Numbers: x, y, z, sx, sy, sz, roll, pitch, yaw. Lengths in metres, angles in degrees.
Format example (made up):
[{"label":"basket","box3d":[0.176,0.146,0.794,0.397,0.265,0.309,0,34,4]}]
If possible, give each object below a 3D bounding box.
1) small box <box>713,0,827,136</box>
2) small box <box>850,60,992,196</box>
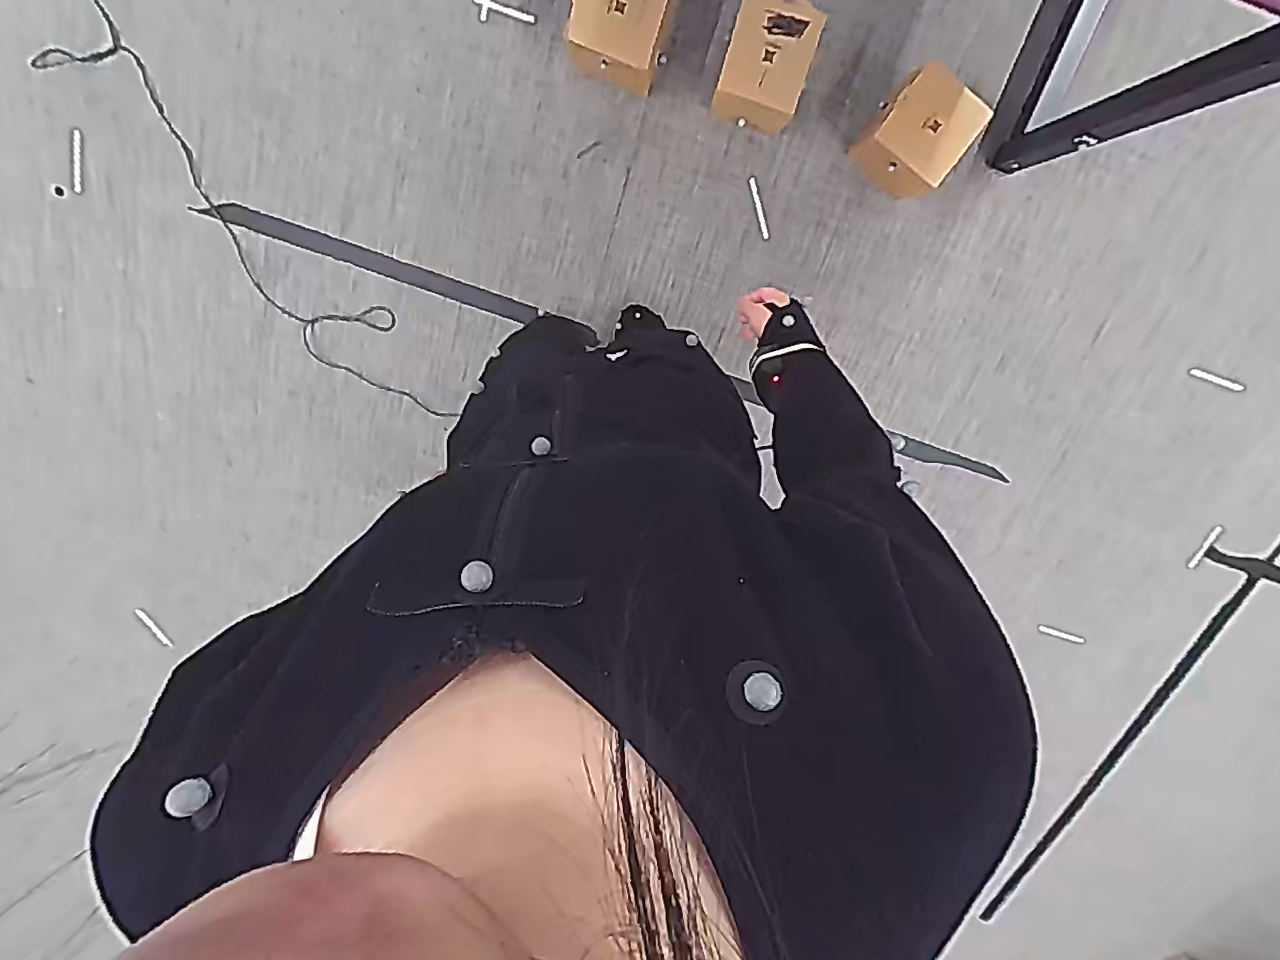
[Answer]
[{"label":"small box","box3d":[0.258,-0.857,1.128,0.168,0.176,0.179,16,109,-4]},{"label":"small box","box3d":[0.592,-0.739,1.162,0.179,0.176,0.168,34,107,-9]}]
